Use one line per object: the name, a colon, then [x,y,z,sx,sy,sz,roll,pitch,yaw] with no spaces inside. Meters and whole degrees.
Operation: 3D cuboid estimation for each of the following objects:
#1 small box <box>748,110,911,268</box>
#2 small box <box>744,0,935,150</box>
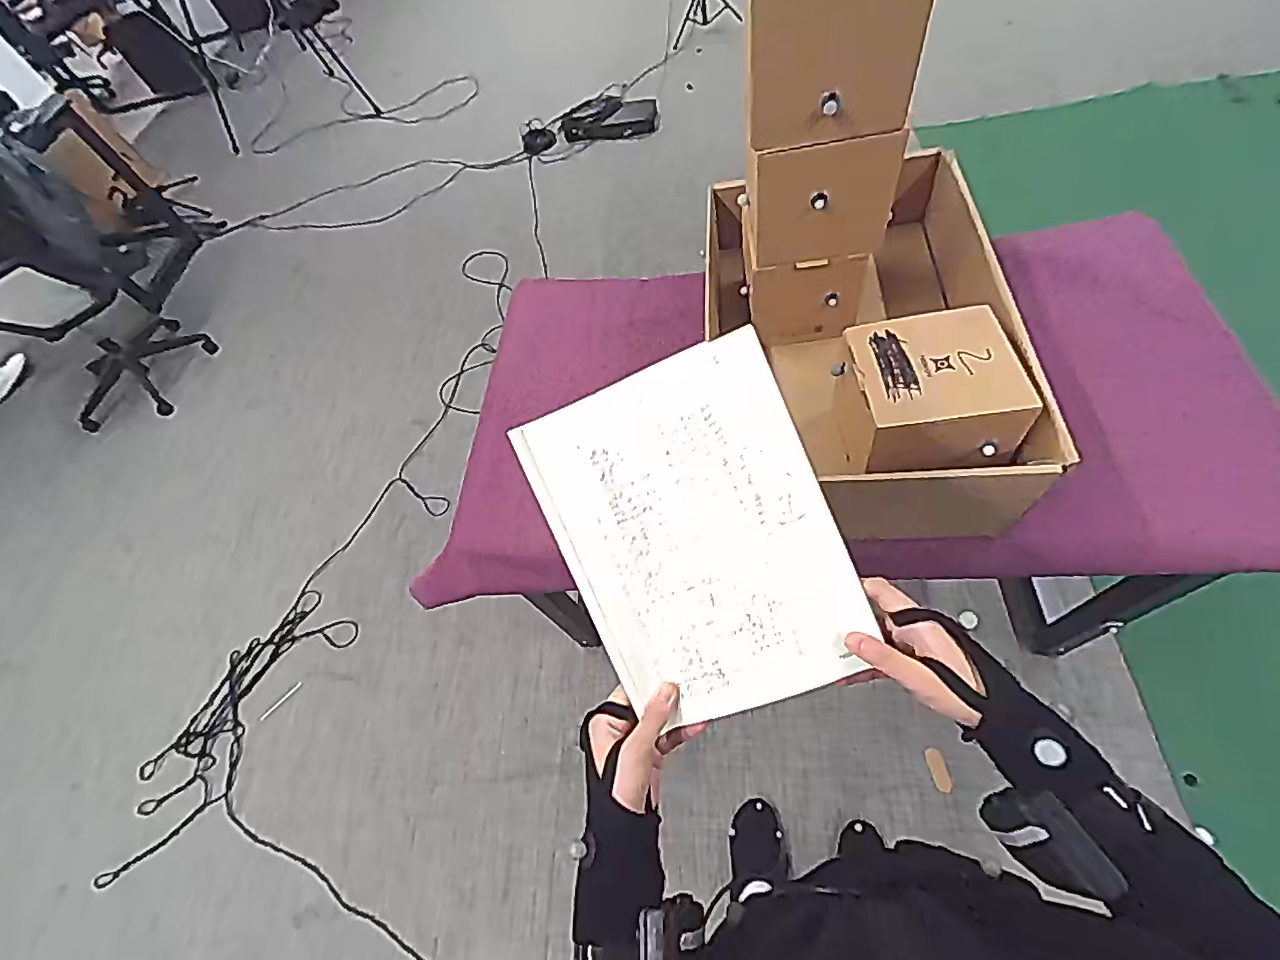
small box: [0.241,-0.419,0.740,0.179,0.176,0.168,-5,59,9]
small box: [0.209,-0.504,0.603,0.179,0.176,0.168,-2,60,9]
